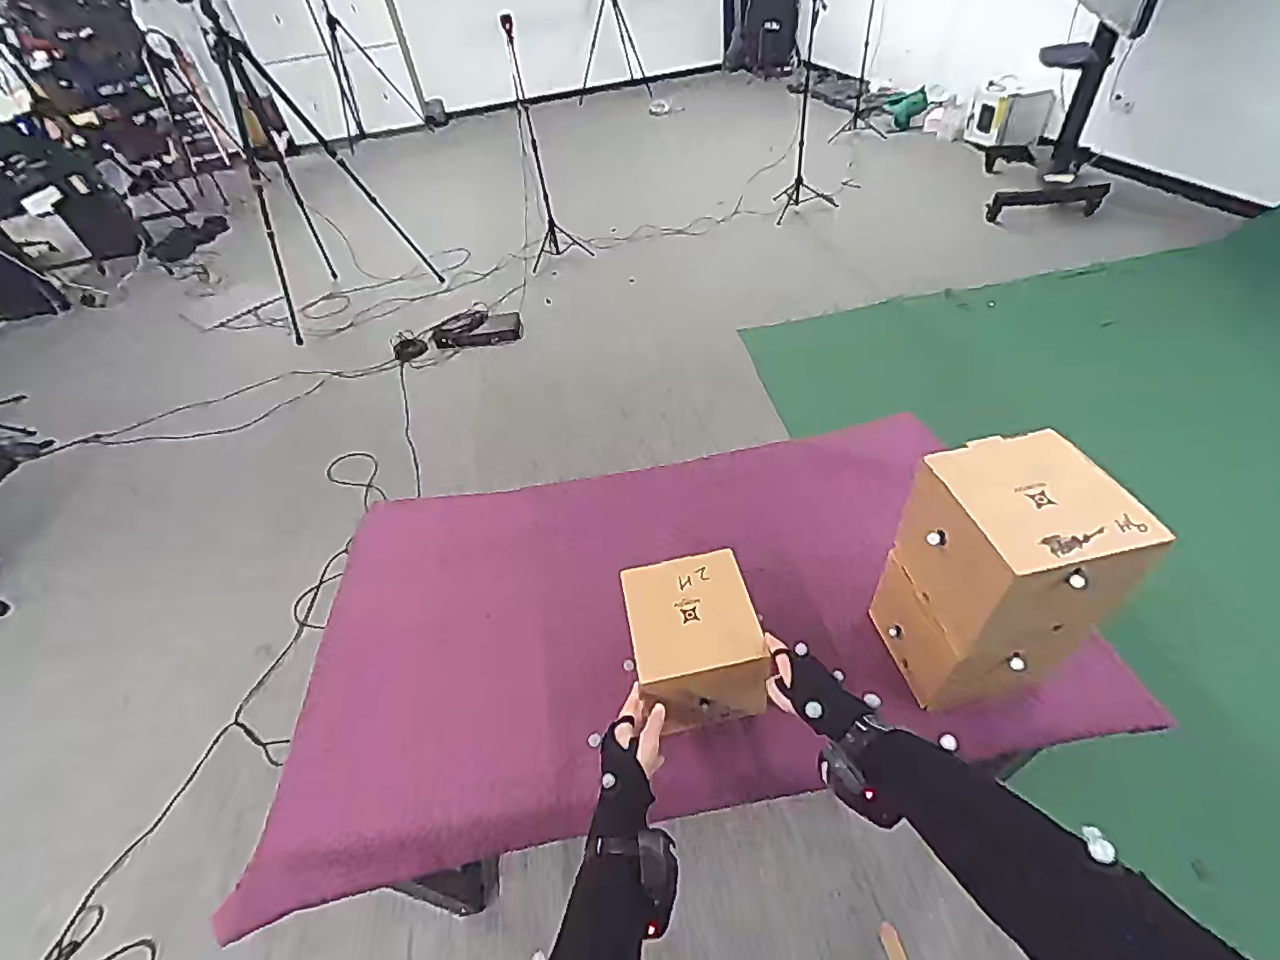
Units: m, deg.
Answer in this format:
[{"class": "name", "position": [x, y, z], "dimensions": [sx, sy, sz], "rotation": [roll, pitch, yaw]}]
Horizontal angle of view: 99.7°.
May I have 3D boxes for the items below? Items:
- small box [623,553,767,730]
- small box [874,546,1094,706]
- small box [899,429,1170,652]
[{"class": "small box", "position": [0.078, 0.236, 0.774], "dimensions": [0.168, 0.176, 0.179], "rotation": [-12, 43, -1]}, {"class": "small box", "position": [0.454, 0.188, 0.750], "dimensions": [0.179, 0.176, 0.168], "rotation": [-14, 45, -1]}, {"class": "small box", "position": [0.433, 0.071, 0.636], "dimensions": [0.168, 0.176, 0.179], "rotation": [-14, 44, 0]}]
